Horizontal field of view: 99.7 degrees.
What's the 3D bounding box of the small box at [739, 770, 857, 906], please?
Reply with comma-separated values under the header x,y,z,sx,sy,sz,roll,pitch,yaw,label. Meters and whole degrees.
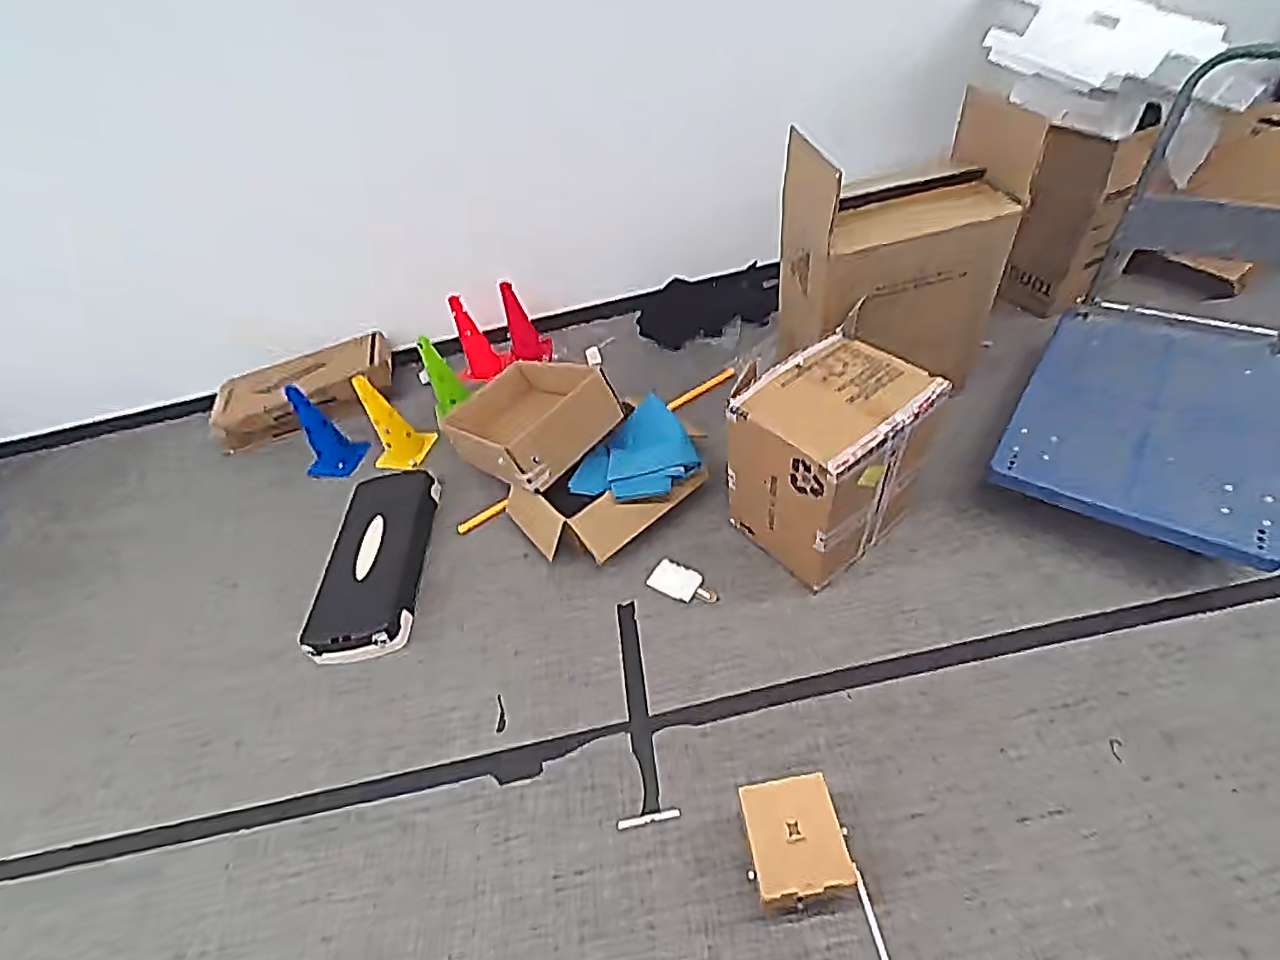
x,y,z,sx,sy,sz,roll,pitch,yaw,label
0.287,0.681,1.027,0.168,0.176,0.179,-12,47,1,small box
